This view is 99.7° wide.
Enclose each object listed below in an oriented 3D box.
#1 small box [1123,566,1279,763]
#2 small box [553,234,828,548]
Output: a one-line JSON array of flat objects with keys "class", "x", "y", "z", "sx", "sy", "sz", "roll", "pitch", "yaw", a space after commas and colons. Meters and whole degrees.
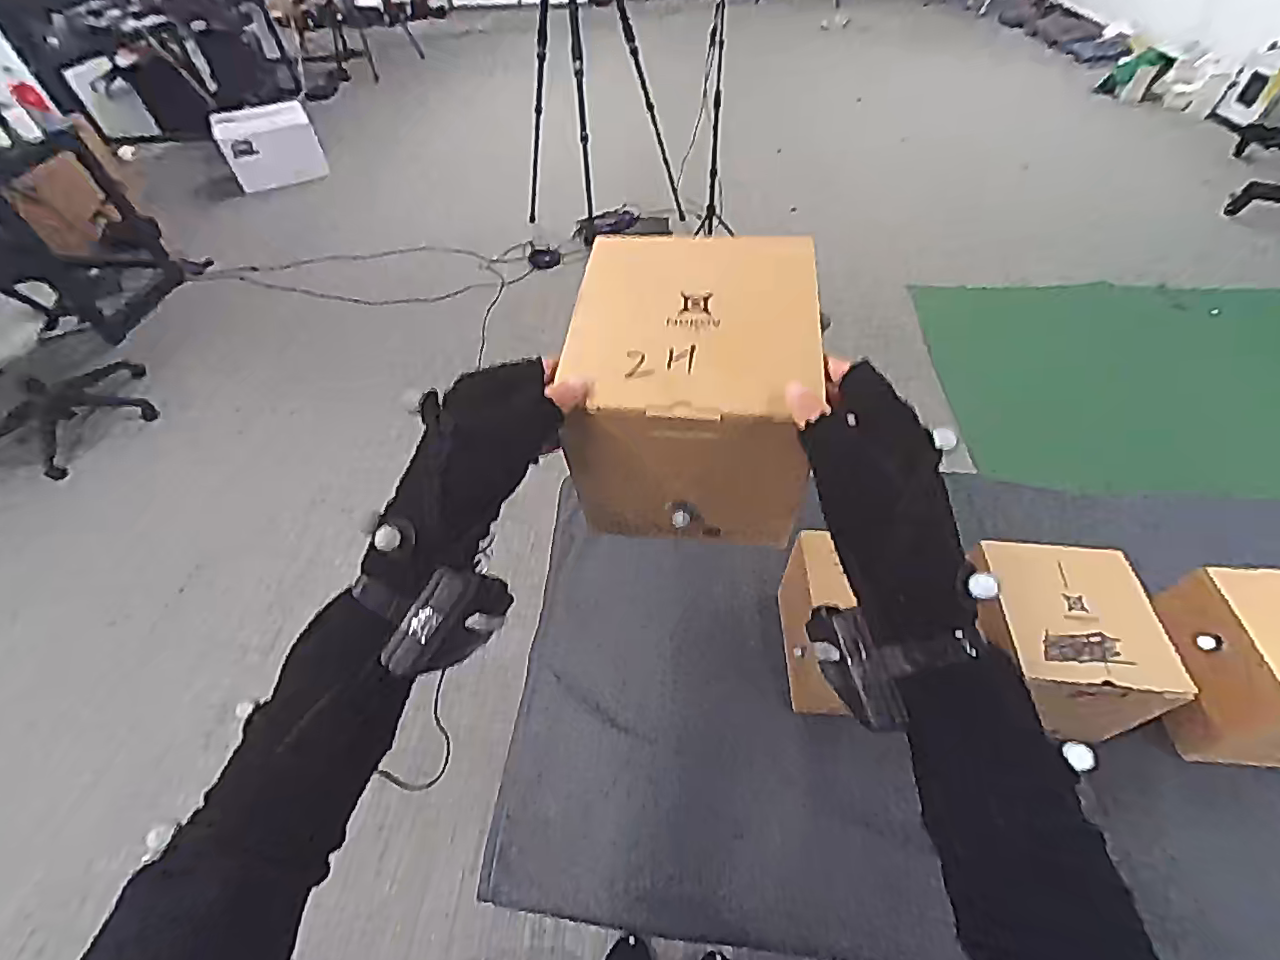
[{"class": "small box", "x": 0.733, "y": 0.220, "z": 0.628, "sx": 0.168, "sy": 0.176, "sz": 0.179, "roll": 3, "pitch": 50, "yaw": 5}, {"class": "small box", "x": 0.044, "y": -0.067, "z": 0.427, "sx": 0.168, "sy": 0.176, "sz": 0.179, "roll": 4, "pitch": 57, "yaw": 8}]
